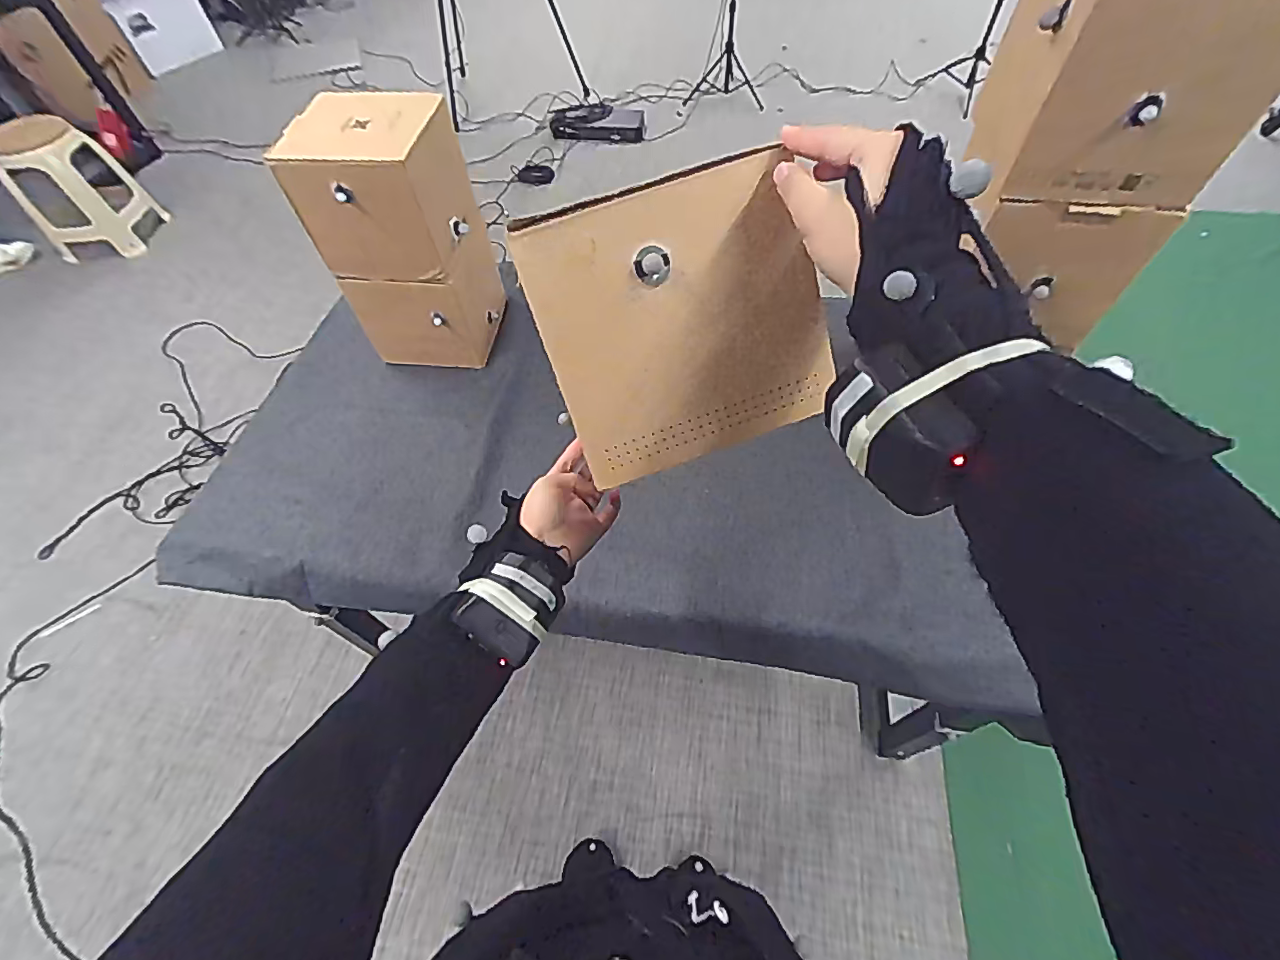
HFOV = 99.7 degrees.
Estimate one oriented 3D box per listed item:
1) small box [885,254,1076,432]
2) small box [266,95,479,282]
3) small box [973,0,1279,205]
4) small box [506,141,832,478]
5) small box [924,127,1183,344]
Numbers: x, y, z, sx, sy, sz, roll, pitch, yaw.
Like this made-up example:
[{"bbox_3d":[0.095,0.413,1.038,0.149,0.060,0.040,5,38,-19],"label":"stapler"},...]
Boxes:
[{"bbox_3d":[0.456,-0.194,0.759,0.168,0.176,0.179,9,58,9],"label":"small box"},{"bbox_3d":[-0.342,-0.389,0.732,0.179,0.176,0.168,4,58,4],"label":"small box"},{"bbox_3d":[0.430,-0.372,0.484,0.168,0.176,0.179,8,57,8],"label":"small box"},{"bbox_3d":[0.018,-0.116,0.409,0.179,0.176,0.168,-19,19,-3],"label":"small box"},{"bbox_3d":[0.445,-0.280,0.620,0.168,0.176,0.179,9,59,9],"label":"small box"}]
